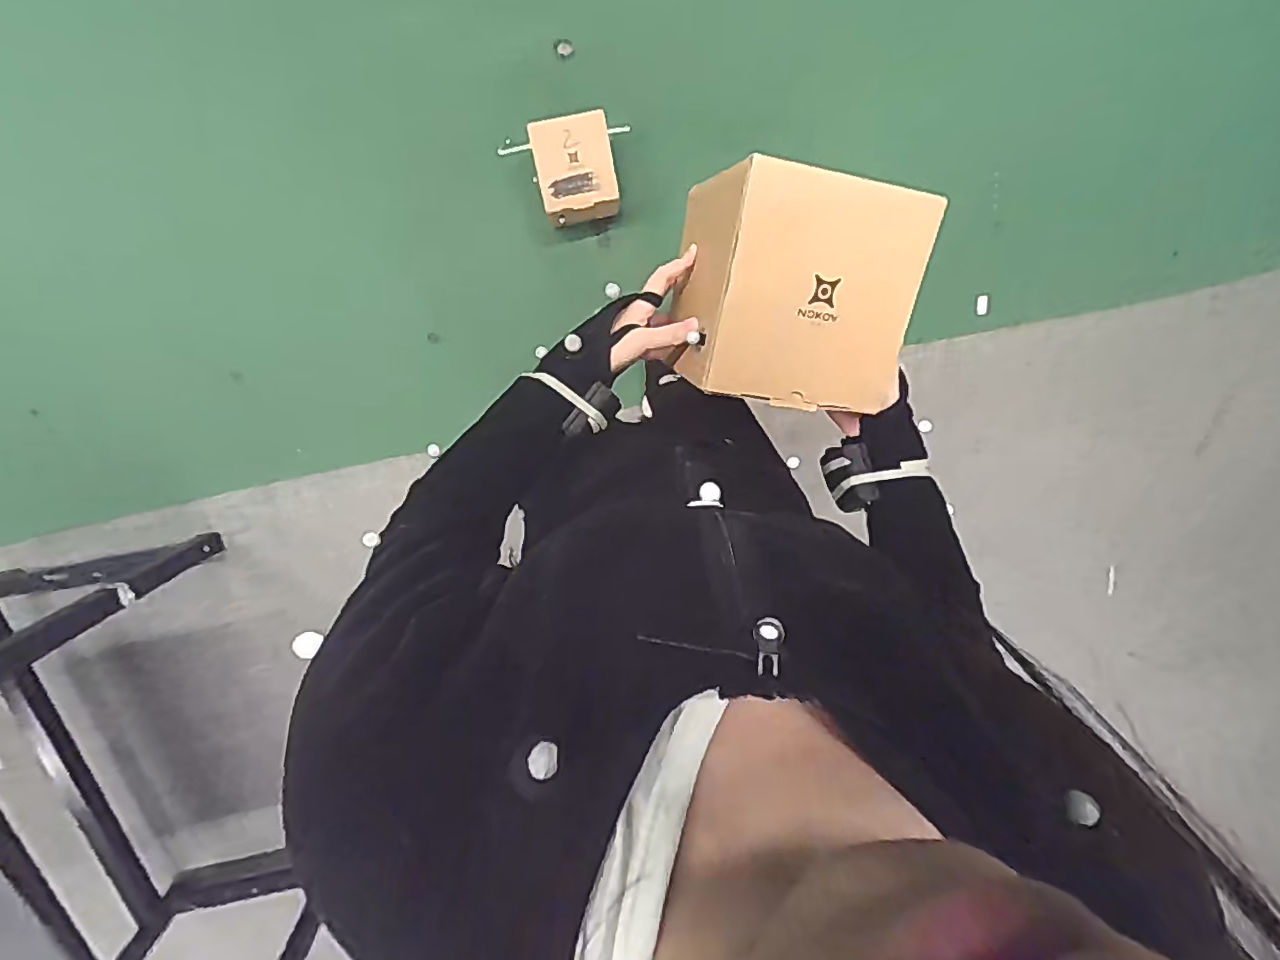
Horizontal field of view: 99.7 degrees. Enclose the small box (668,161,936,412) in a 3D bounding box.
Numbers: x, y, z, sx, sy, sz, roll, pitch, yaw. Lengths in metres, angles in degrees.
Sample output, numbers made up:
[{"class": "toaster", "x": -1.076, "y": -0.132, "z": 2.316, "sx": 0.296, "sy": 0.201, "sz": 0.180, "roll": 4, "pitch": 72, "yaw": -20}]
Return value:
[{"class": "small box", "x": 0.130, "y": -0.175, "z": 0.511, "sx": 0.168, "sy": 0.176, "sz": 0.179, "roll": 4, "pitch": 111, "yaw": -12}]
